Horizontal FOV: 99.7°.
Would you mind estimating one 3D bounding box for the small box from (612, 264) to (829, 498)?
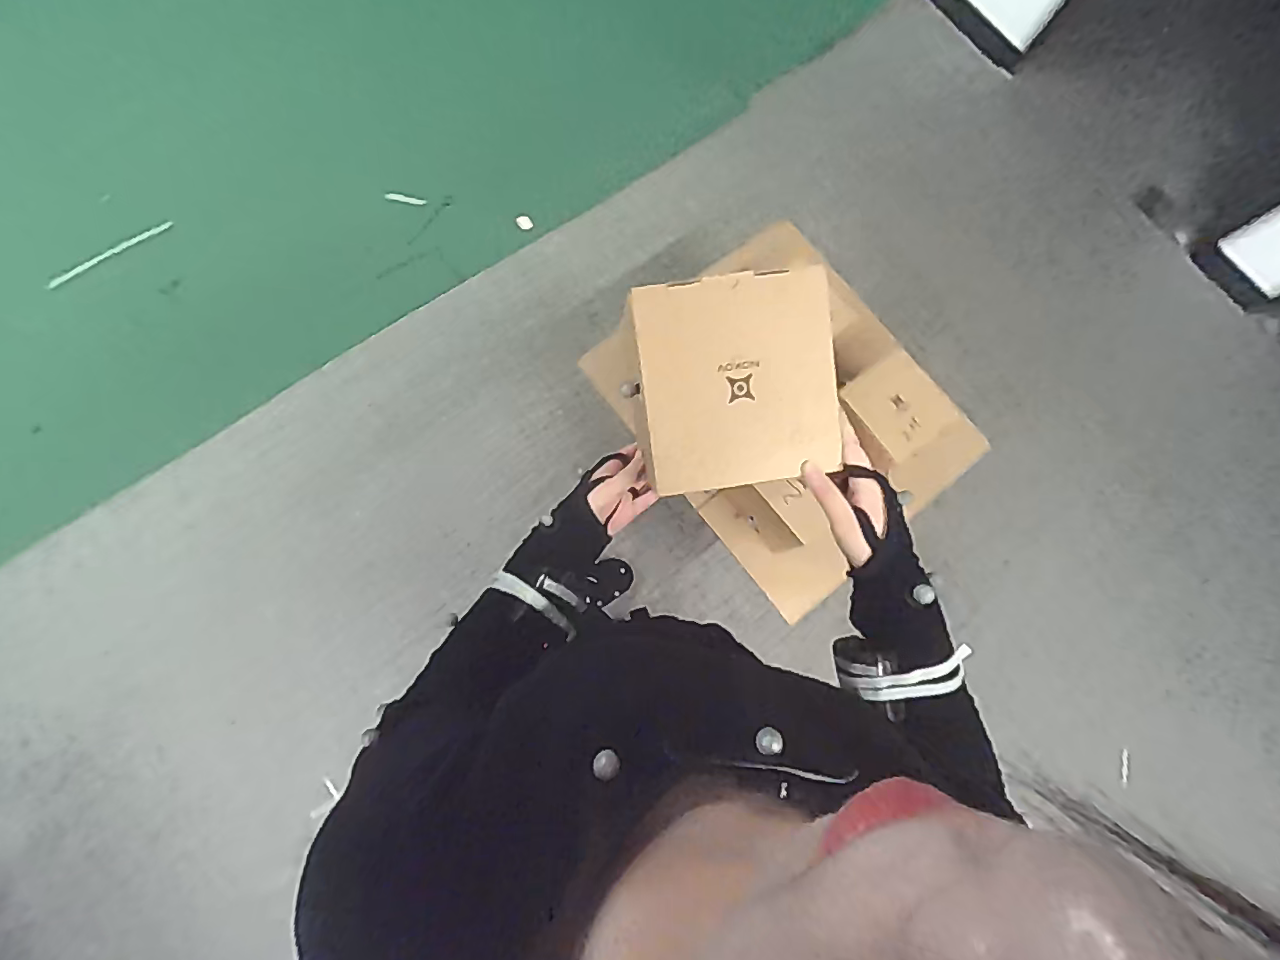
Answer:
[{"bbox_3d":[0.067,-0.090,0.530,0.168,0.176,0.179,-9,96,-2],"label":"small box"}]

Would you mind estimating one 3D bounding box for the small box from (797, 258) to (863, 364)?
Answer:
[{"bbox_3d":[0.299,-0.298,1.089,0.179,0.176,0.168,-38,82,-12],"label":"small box"}]
